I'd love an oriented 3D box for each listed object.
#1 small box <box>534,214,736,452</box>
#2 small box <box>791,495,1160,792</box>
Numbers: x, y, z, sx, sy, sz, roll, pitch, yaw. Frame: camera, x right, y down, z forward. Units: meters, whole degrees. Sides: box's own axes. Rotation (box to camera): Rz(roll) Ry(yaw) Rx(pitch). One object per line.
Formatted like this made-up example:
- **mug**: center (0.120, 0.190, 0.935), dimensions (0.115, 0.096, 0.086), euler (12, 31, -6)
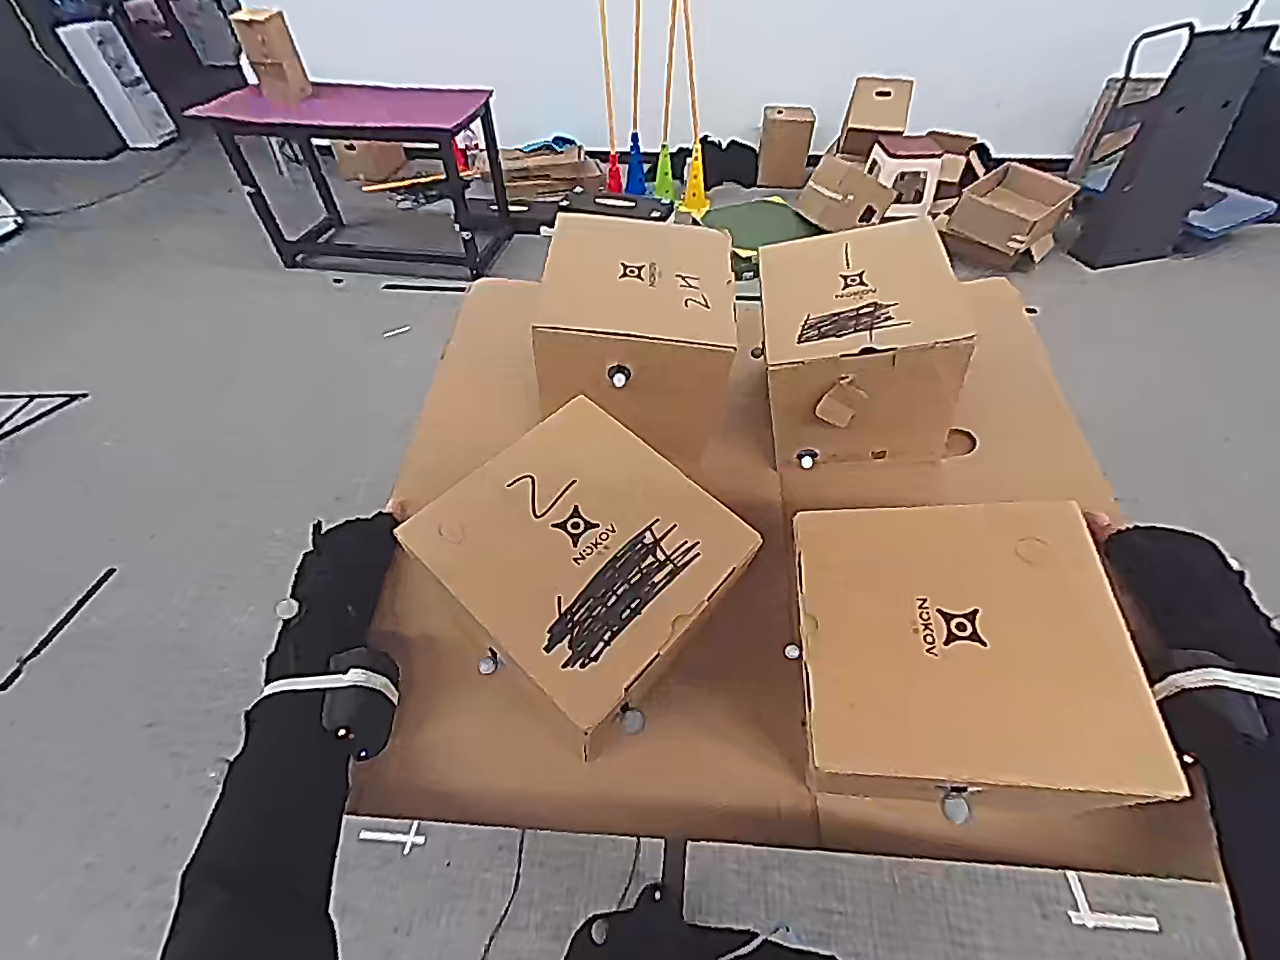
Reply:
- **small box**: center (-0.005, -0.145, 0.567), dimensions (0.179, 0.176, 0.168), euler (6, 58, -2)
- **small box**: center (0.206, 0.125, 0.396), dimensions (0.179, 0.176, 0.168), euler (-4, 57, 17)
